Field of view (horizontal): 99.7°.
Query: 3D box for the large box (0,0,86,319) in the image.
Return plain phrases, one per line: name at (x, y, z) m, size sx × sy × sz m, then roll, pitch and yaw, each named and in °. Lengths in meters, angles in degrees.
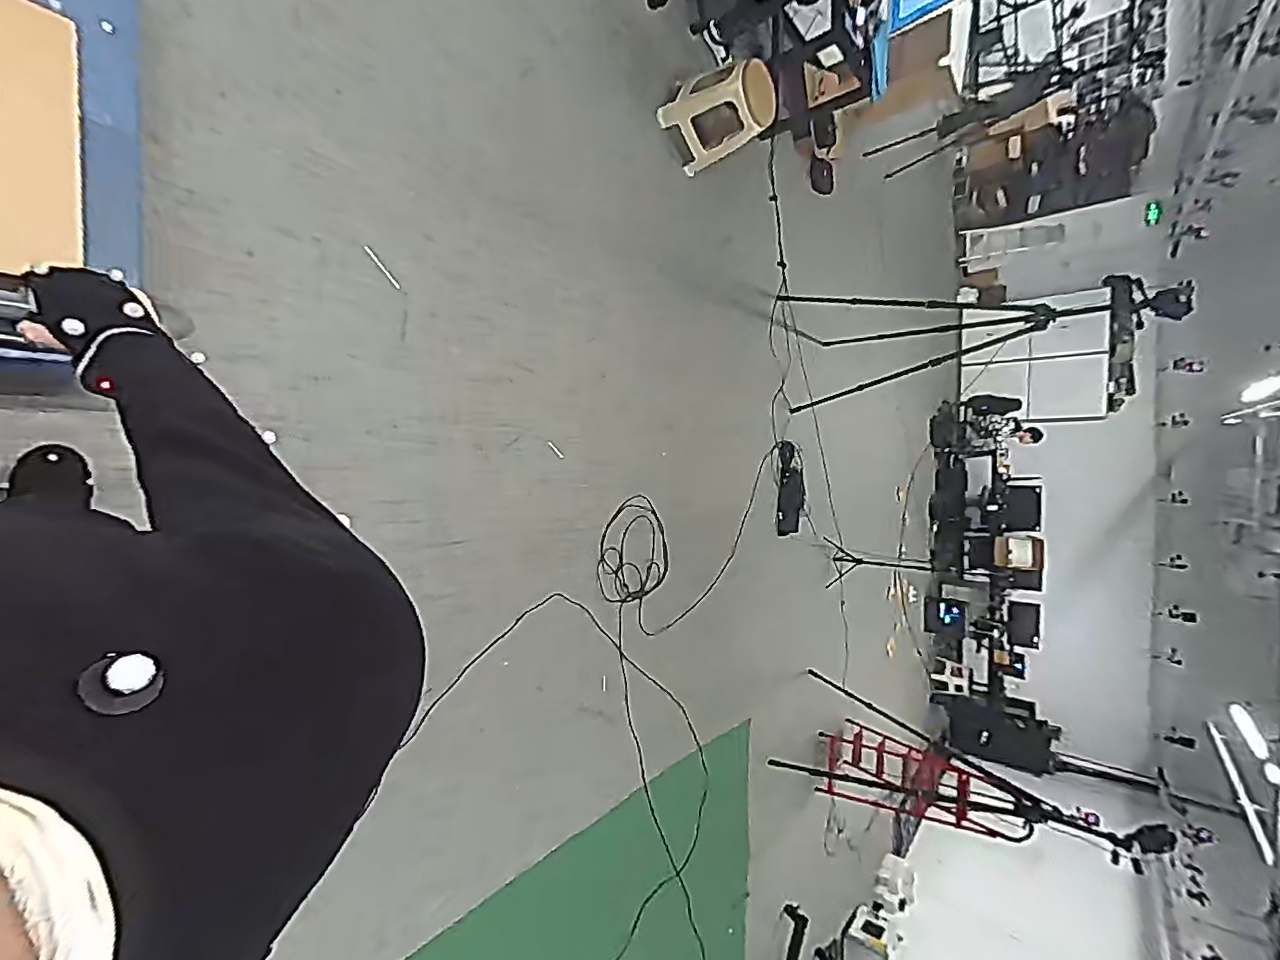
large box at (-1.079, -0.492, 0.811) m, size 0.320 × 0.320 × 0.408 m, roll -3°, pitch 93°, yaw -50°
